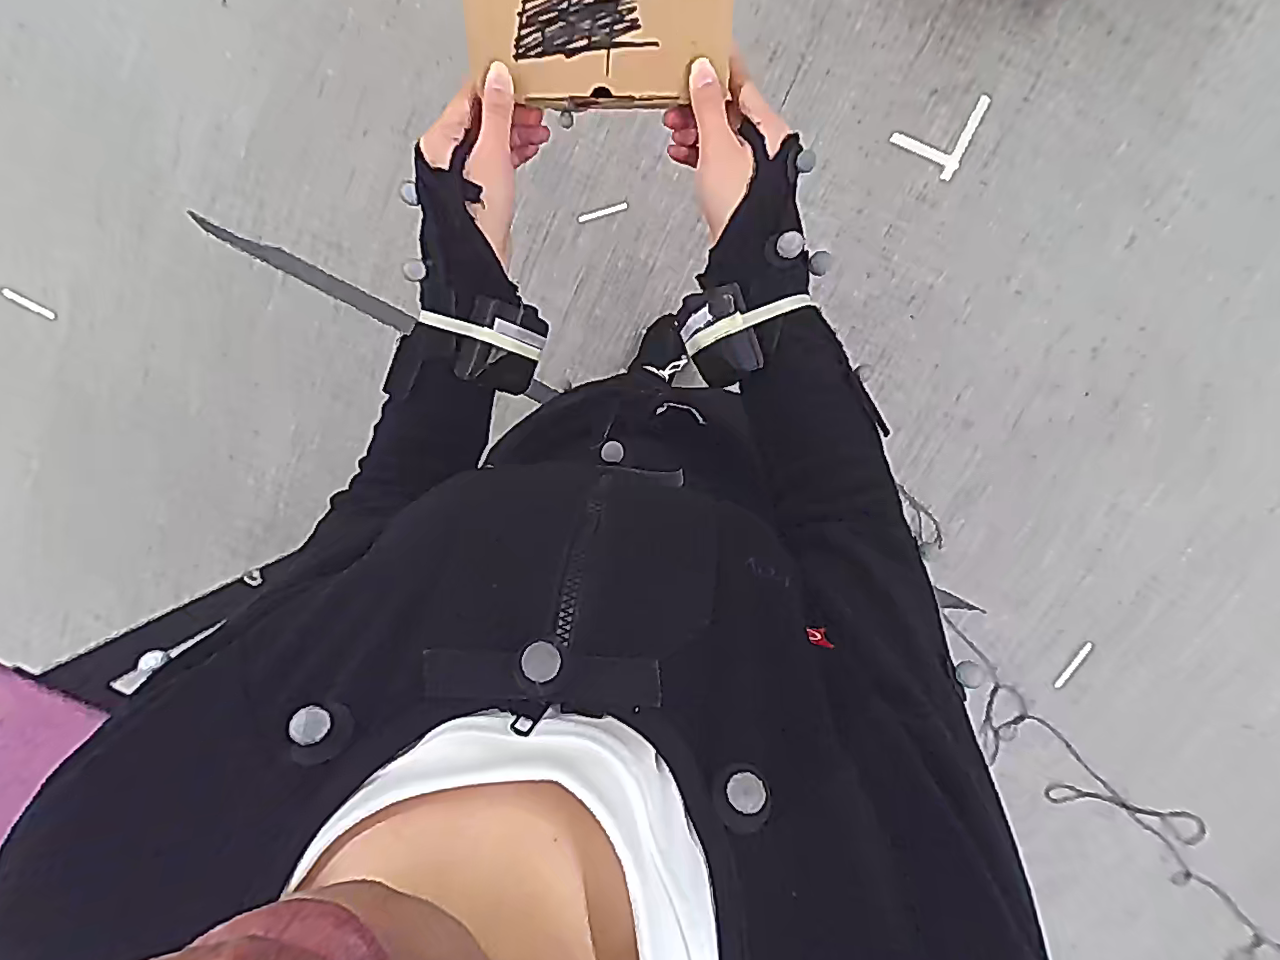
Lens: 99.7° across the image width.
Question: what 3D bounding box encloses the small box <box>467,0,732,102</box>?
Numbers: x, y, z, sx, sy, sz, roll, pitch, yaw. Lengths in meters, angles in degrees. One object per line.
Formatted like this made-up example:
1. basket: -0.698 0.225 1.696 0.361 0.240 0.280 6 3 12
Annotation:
1. small box: -0.017 -0.368 0.370 0.168 0.176 0.179 3 122 4
